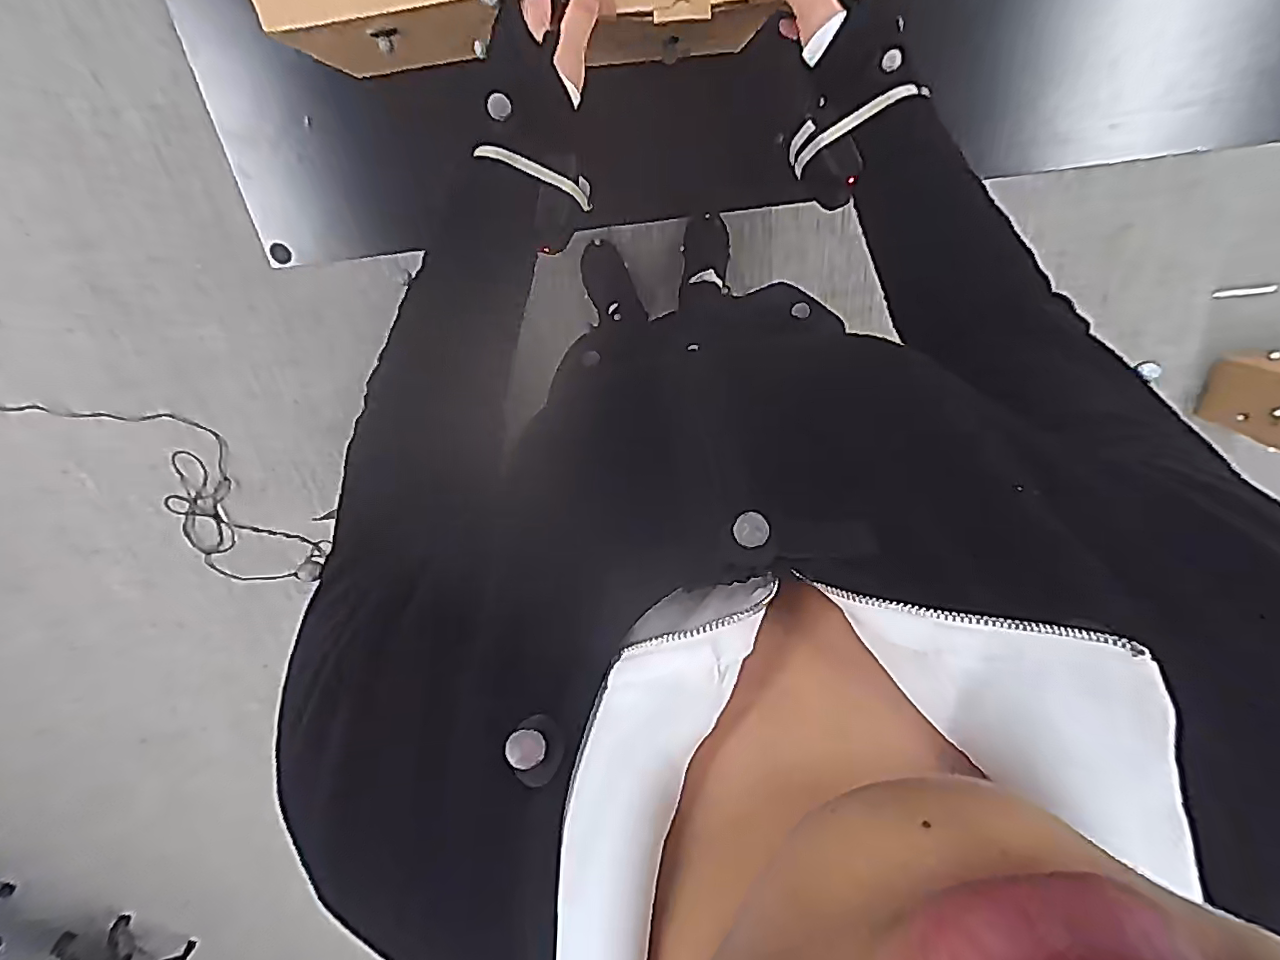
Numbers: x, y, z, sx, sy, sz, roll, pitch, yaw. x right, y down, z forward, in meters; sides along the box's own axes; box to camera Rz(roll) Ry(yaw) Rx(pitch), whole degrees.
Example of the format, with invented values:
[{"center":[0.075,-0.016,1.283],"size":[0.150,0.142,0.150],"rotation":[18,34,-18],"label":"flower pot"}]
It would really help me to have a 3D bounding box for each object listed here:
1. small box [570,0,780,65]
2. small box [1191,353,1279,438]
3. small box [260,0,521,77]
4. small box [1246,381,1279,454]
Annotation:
[{"center":[0.019,-0.471,0.452],"size":[0.168,0.176,0.179],"rotation":[-7,118,0],"label":"small box"},{"center":[1.643,-0.227,1.437],"size":[0.168,0.176,0.179],"rotation":[-4,117,1],"label":"small box"},{"center":[-0.214,-0.463,0.452],"size":[0.179,0.176,0.168],"rotation":[-9,118,2],"label":"small box"},{"center":[1.651,-0.145,1.296],"size":[0.179,0.176,0.168],"rotation":[-5,117,3],"label":"small box"}]
